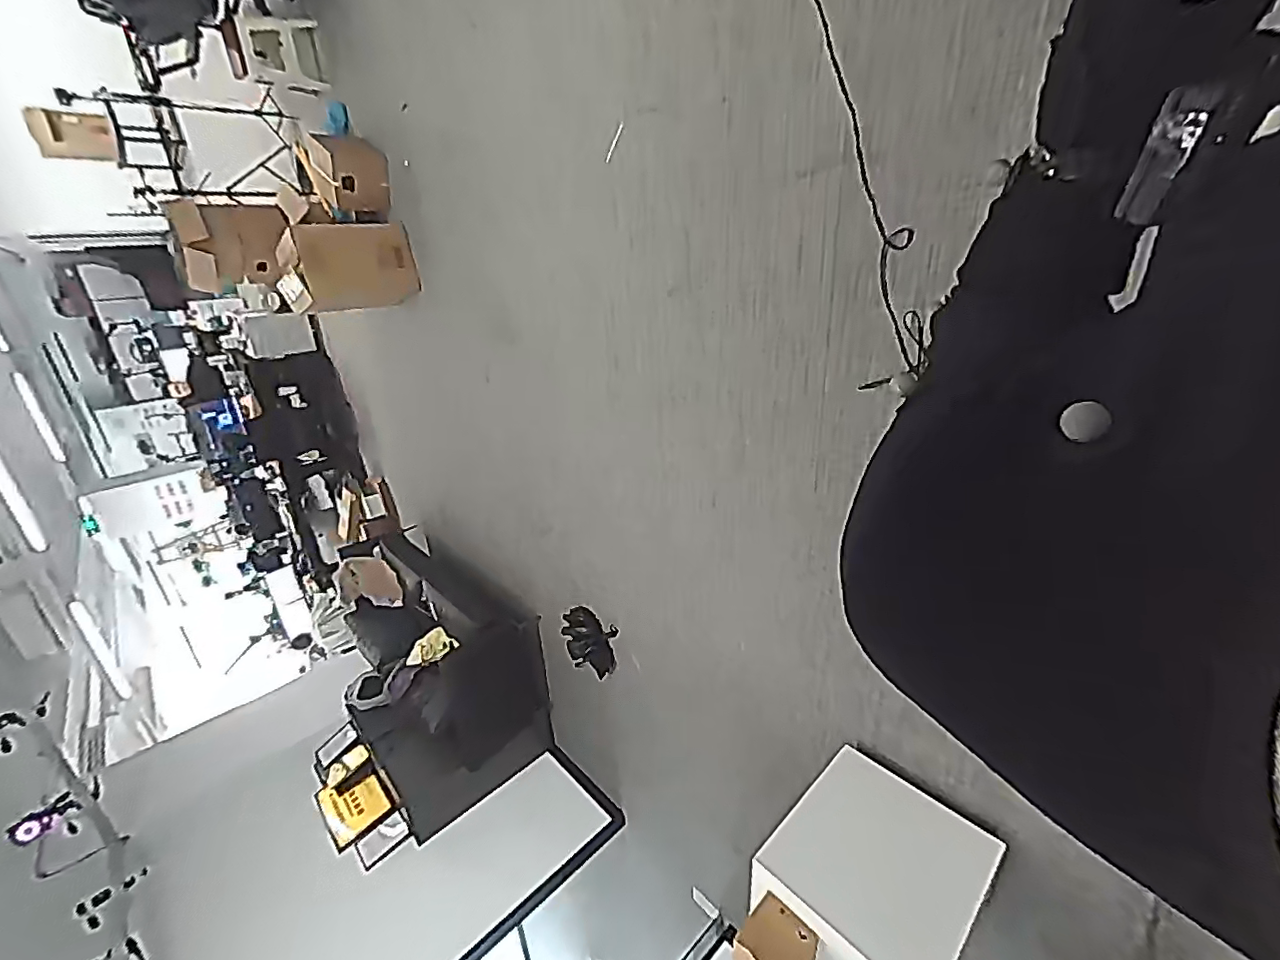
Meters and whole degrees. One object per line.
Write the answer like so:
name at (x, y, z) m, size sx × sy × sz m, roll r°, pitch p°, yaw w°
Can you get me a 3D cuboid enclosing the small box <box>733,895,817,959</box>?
small box at (0.376, 1.319, 1.503) m, size 0.168 × 0.176 × 0.179 m, roll 22°, pitch 125°, yaw 43°
